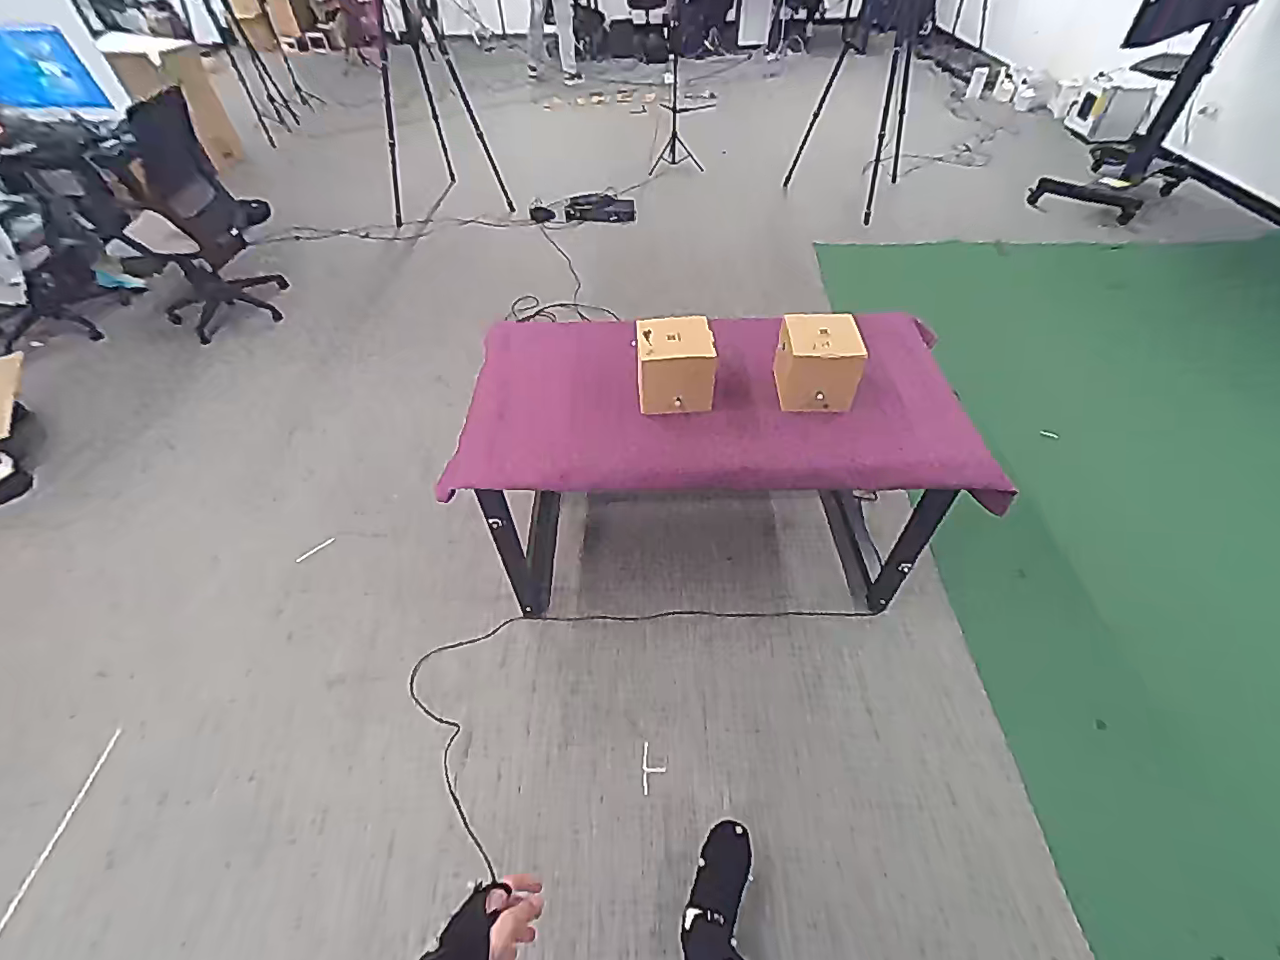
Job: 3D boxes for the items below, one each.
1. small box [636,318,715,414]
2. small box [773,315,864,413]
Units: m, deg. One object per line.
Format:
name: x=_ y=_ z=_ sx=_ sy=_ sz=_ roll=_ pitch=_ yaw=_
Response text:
small box: x=0.081 y=-0.277 z=1.329 sx=0.179 sy=0.176 sz=0.168 roll=-3 pitch=48 yaw=-1
small box: x=0.427 y=-0.285 z=1.323 sx=0.168 sy=0.176 sz=0.179 roll=1 pitch=48 yaw=3
